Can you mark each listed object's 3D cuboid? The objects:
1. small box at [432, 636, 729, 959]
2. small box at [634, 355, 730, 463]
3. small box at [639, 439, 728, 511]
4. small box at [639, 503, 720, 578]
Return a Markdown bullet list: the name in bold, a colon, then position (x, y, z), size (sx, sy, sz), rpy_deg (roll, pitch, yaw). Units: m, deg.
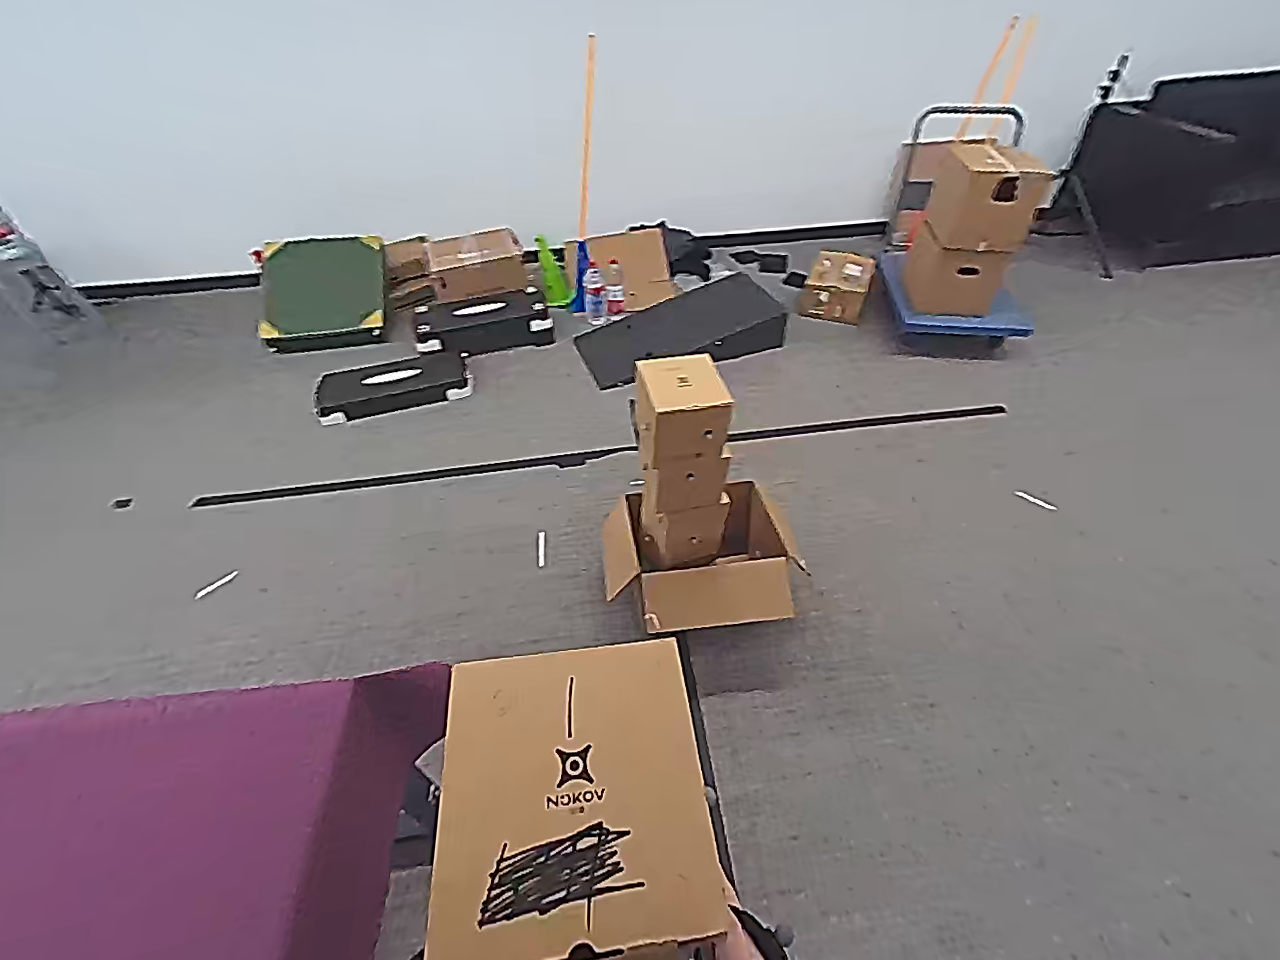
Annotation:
- **small box**: position (-0.040, 0.240, 0.405), size (0.168, 0.176, 0.179), rpy_deg (-4, 49, -5)
- **small box**: position (0.084, -0.151, 1.191), size (0.168, 0.176, 0.179), rpy_deg (-8, 49, -11)
- **small box**: position (0.096, -0.044, 1.315), size (0.179, 0.176, 0.168), rpy_deg (-9, 50, -11)
- **small box**: position (0.109, 0.158, 1.576), size (0.179, 0.176, 0.168), rpy_deg (-20, 52, -21)
